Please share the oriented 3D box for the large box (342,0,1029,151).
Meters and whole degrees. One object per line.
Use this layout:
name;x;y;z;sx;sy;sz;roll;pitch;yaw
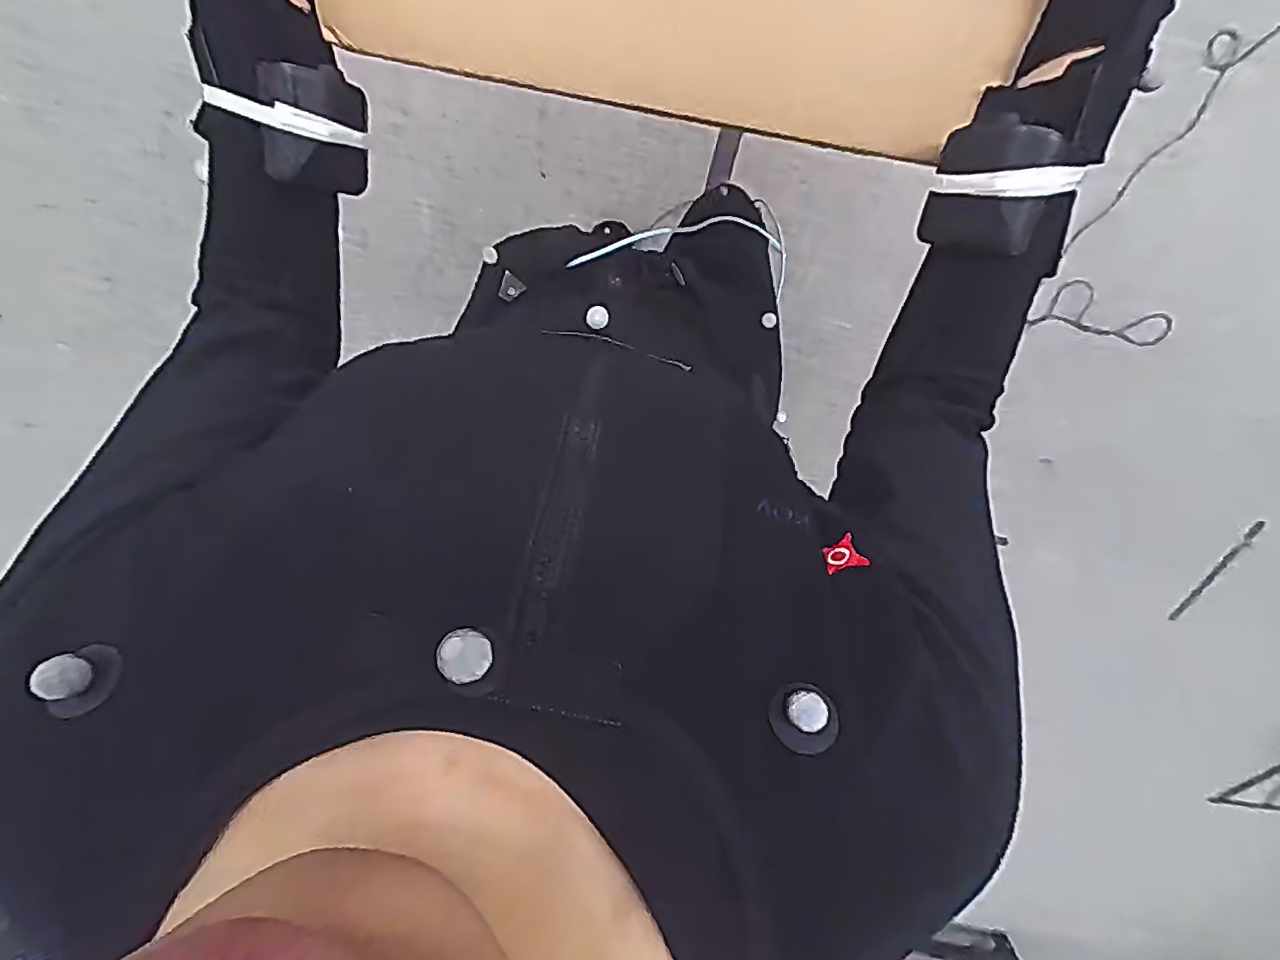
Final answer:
large box;0.044;-0.446;0.376;0.408;0.320;0.320;10;126;-2
